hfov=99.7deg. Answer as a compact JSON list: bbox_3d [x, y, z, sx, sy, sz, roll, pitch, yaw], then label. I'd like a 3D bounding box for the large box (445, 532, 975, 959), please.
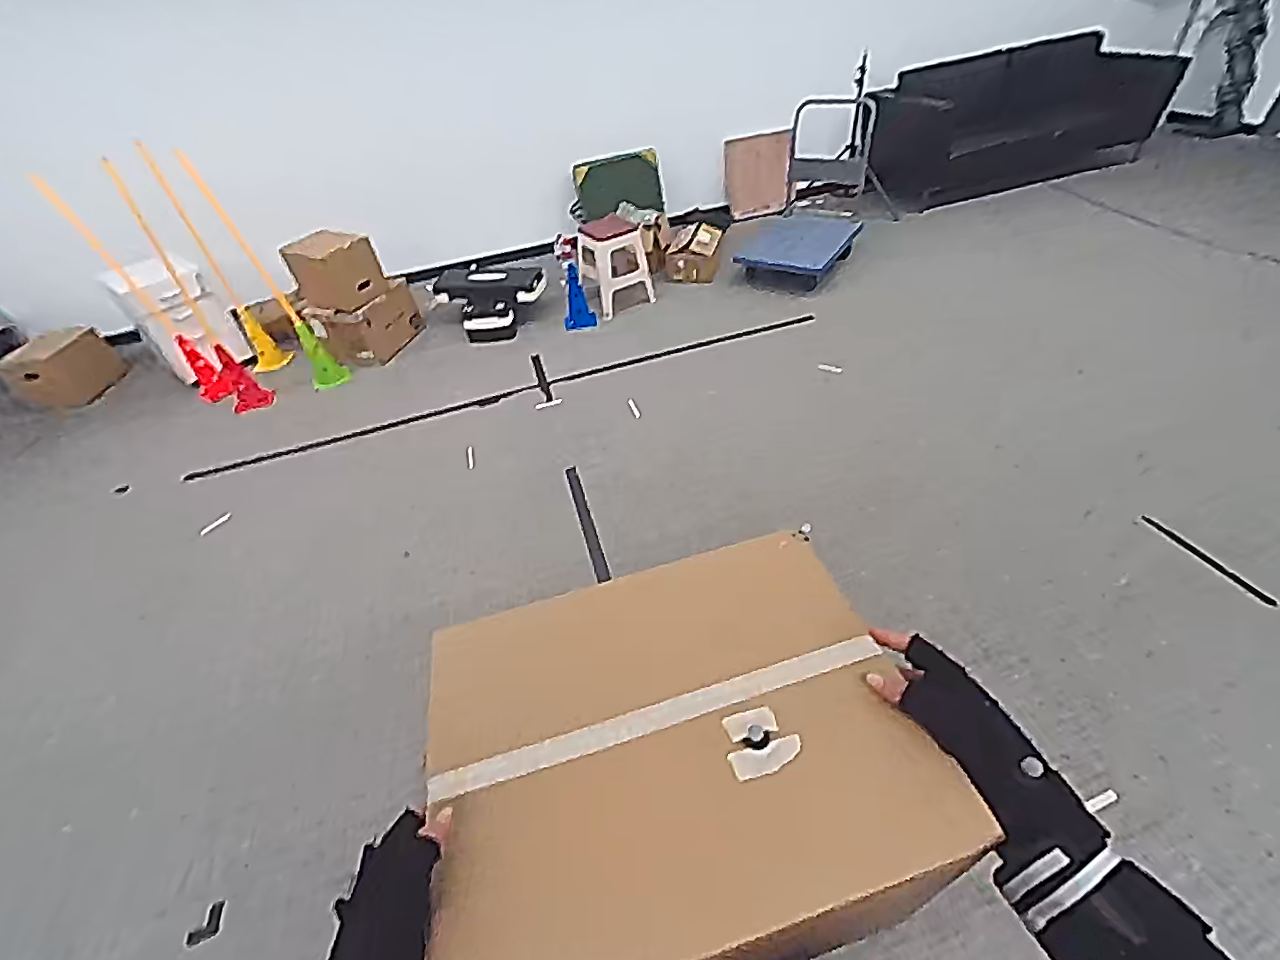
[{"bbox_3d":[0.040,0.316,0.584,0.408,0.320,0.320,-15,43,-7],"label":"large box"}]
